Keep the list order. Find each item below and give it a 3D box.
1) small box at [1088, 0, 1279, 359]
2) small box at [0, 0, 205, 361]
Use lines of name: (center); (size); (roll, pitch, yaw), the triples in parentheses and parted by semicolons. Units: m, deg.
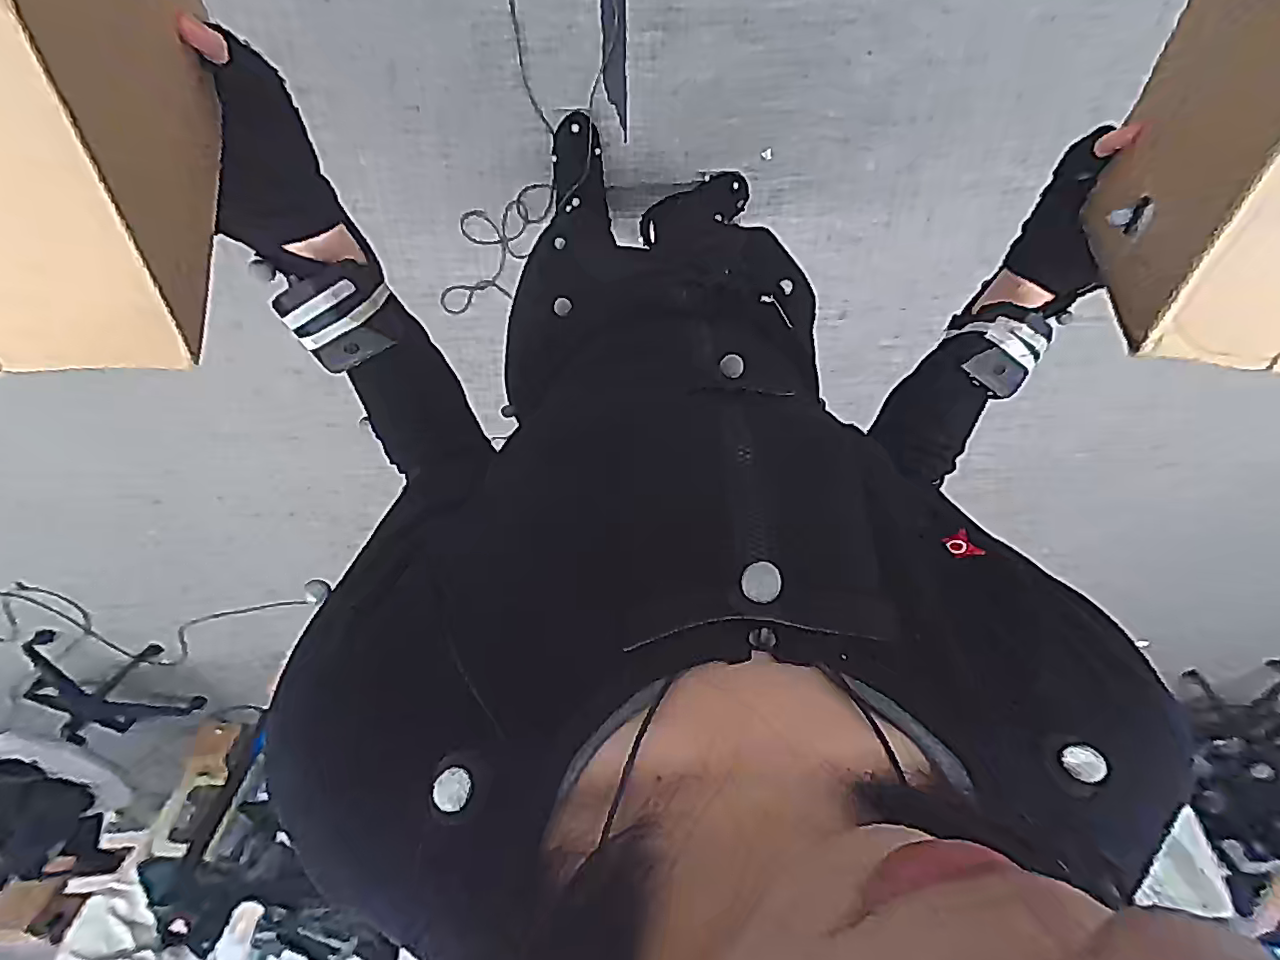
small box: (0.362, -0.173, 0.254); (0.168, 0.179, 0.176); (11, 144, 16)
small box: (-0.252, -0.154, 0.149); (0.168, 0.179, 0.176); (-4, 154, -25)
